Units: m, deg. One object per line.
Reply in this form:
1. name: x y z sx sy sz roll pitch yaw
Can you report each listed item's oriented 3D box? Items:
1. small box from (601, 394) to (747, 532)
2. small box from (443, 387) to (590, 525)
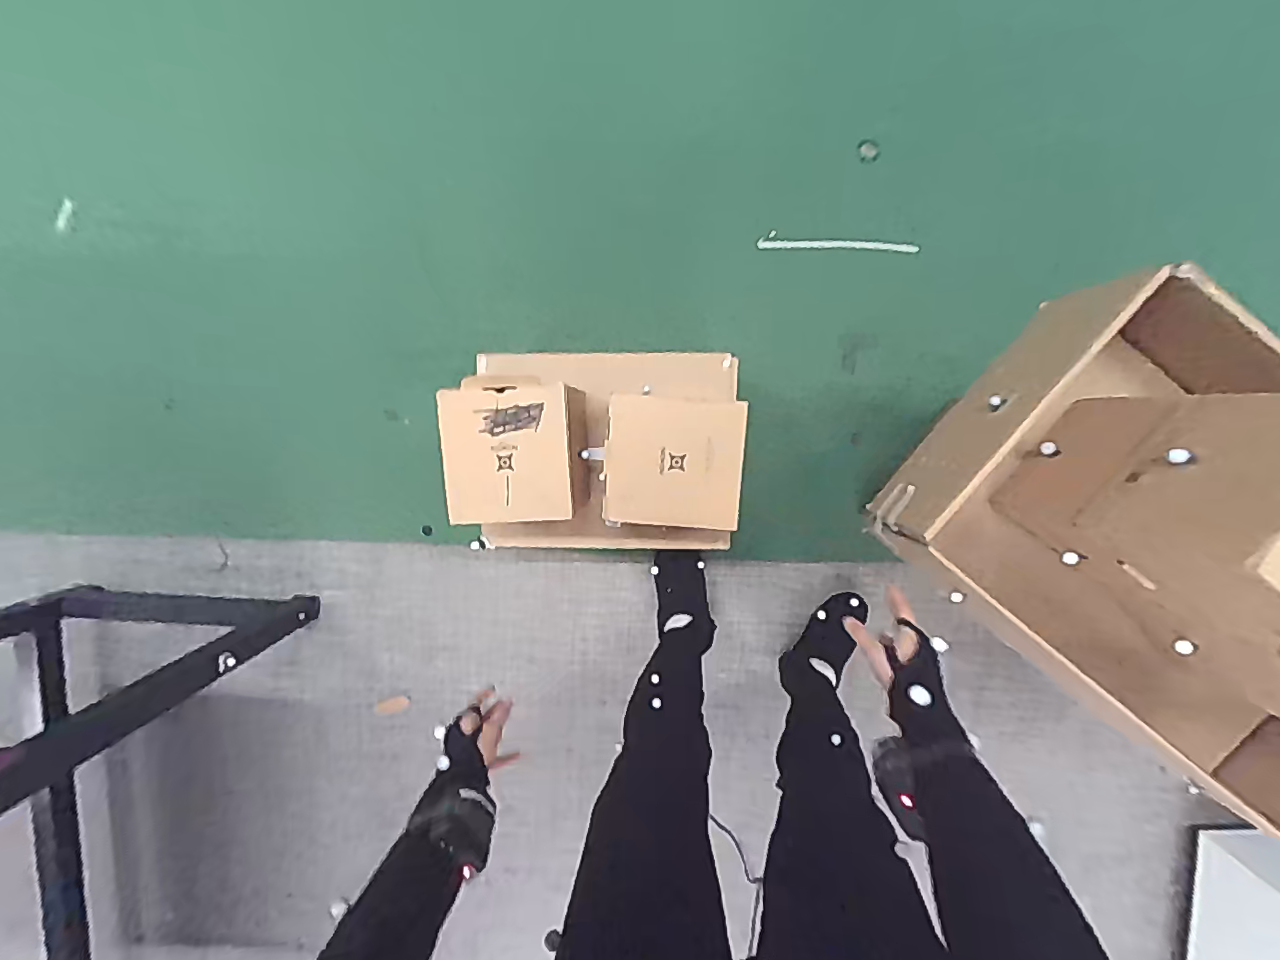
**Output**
1. small box: 0.046 -0.028 0.766 0.179 0.176 0.168 4 97 2
2. small box: -0.166 -0.037 0.776 0.168 0.176 0.179 -2 96 3
